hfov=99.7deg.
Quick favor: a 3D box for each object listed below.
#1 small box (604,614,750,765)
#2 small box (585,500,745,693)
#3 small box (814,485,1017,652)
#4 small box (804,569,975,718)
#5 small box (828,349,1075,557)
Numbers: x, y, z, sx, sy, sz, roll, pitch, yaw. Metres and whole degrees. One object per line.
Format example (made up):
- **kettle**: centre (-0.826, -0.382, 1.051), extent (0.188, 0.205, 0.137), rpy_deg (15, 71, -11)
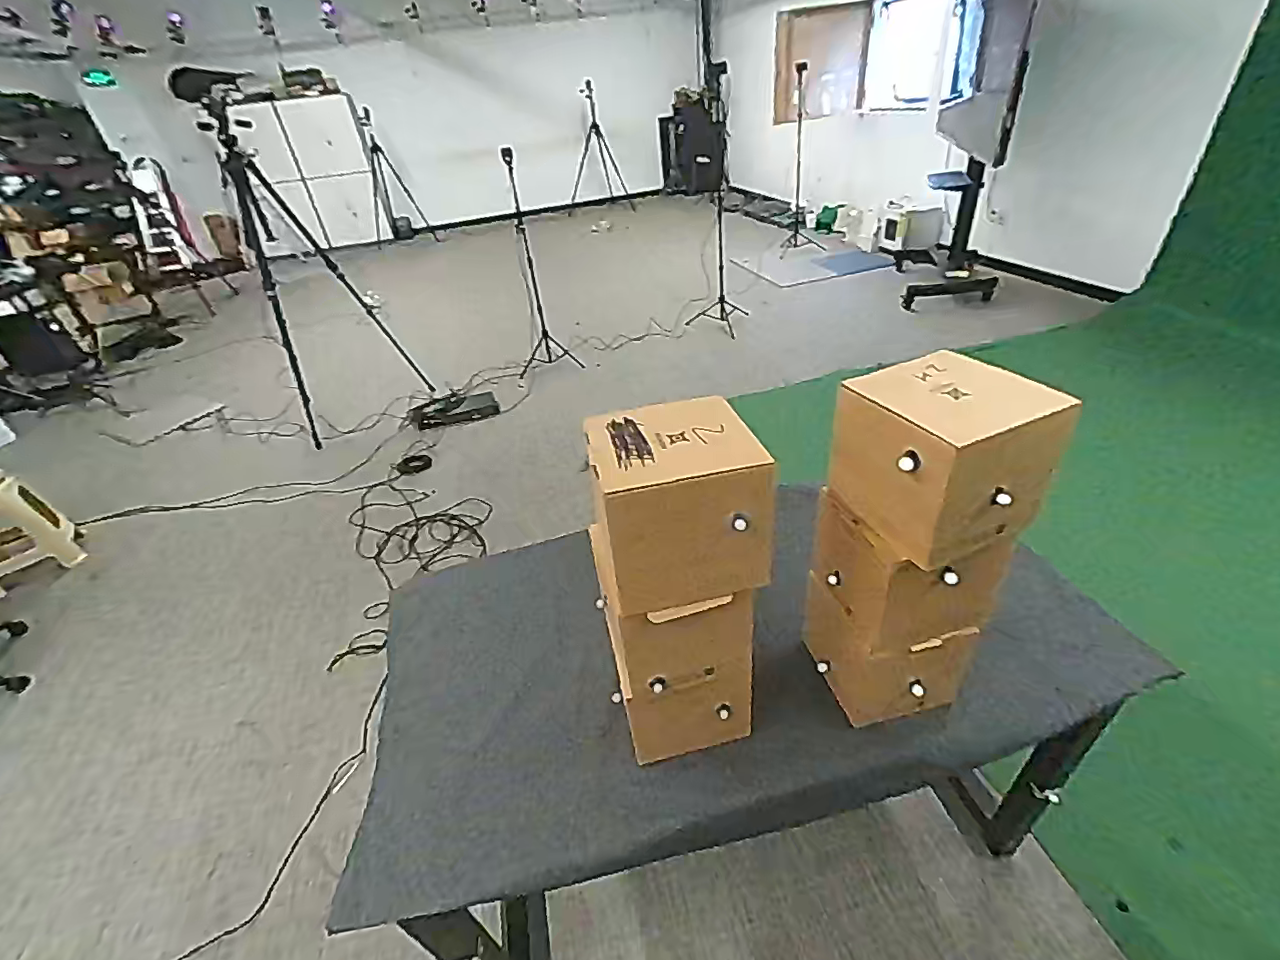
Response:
- **small box**: centre (0.054, 0.292, 0.814), extent (0.179, 0.176, 0.168), rpy_deg (-13, 34, -6)
- **small box**: centre (0.034, 0.157, 0.723), extent (0.168, 0.176, 0.179), rpy_deg (-14, 33, -10)
- **small box**: centre (0.355, 0.102, 0.736), extent (0.179, 0.176, 0.168), rpy_deg (-14, 35, -7)
- **small box**: centre (0.365, 0.237, 0.827), extent (0.168, 0.176, 0.179), rpy_deg (-13, 35, -6)
- **small box**: centre (0.344, -0.030, 0.636), extent (0.168, 0.176, 0.179), rpy_deg (-18, 35, -14)
